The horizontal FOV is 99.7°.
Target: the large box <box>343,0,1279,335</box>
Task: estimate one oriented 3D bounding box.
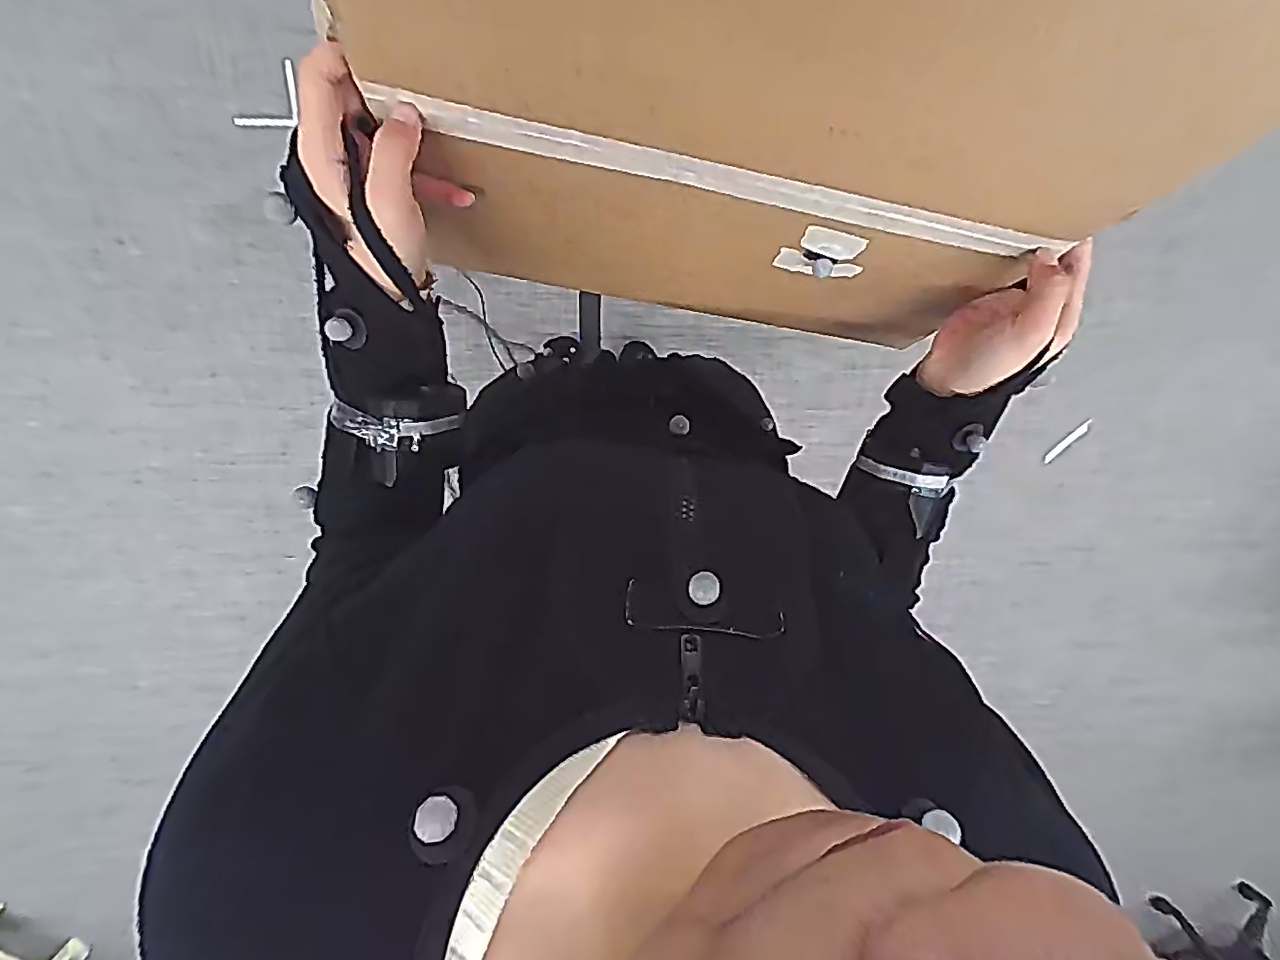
[{"bbox_3d":[0.070,-0.320,0.330,0.408,0.320,0.320,6,81,-9],"label":"large box"}]
